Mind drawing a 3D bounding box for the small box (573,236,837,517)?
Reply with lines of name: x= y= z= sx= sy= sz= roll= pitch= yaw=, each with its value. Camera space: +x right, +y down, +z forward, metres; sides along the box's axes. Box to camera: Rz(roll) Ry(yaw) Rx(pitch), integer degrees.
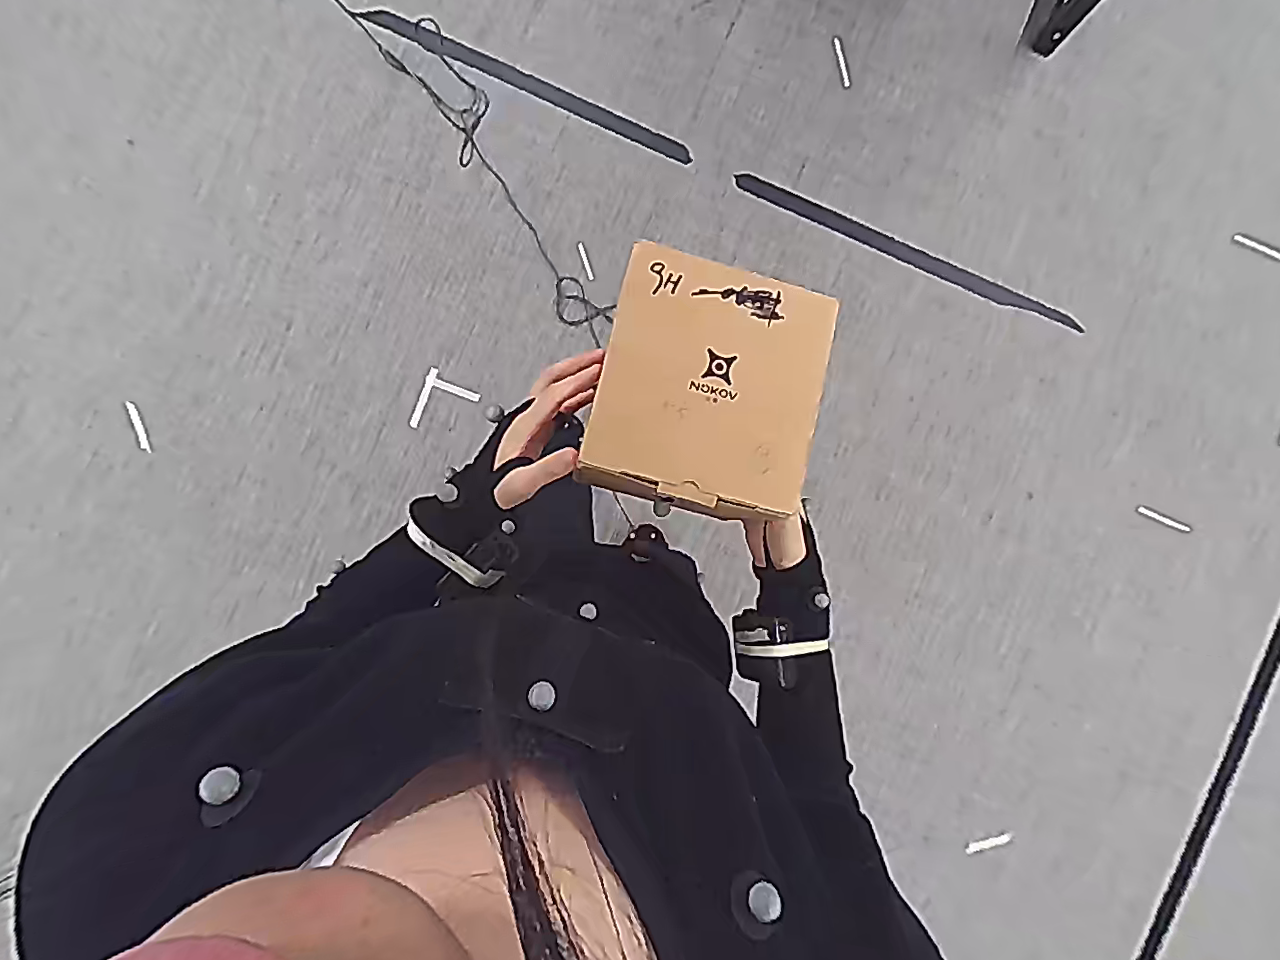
small box: x=0.042 y=-0.071 z=0.475 sx=0.168 sy=0.176 sz=0.179 roll=15 pitch=84 yaw=-7
